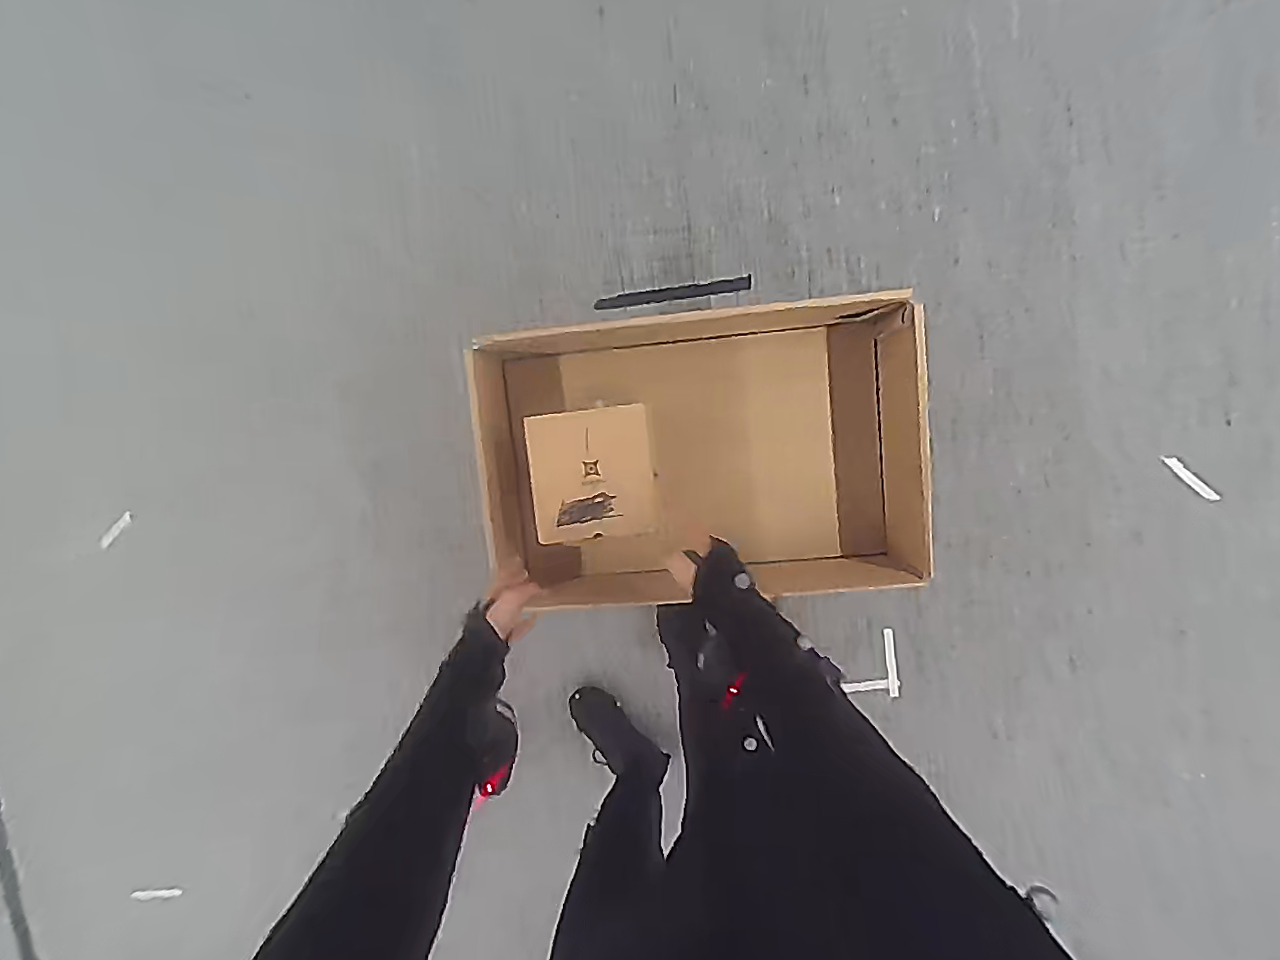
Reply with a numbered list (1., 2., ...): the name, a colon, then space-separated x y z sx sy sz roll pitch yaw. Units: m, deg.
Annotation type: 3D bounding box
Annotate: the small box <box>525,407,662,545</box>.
1. small box: -0.059 -0.011 0.801 0.168 0.176 0.179 -6 94 5
